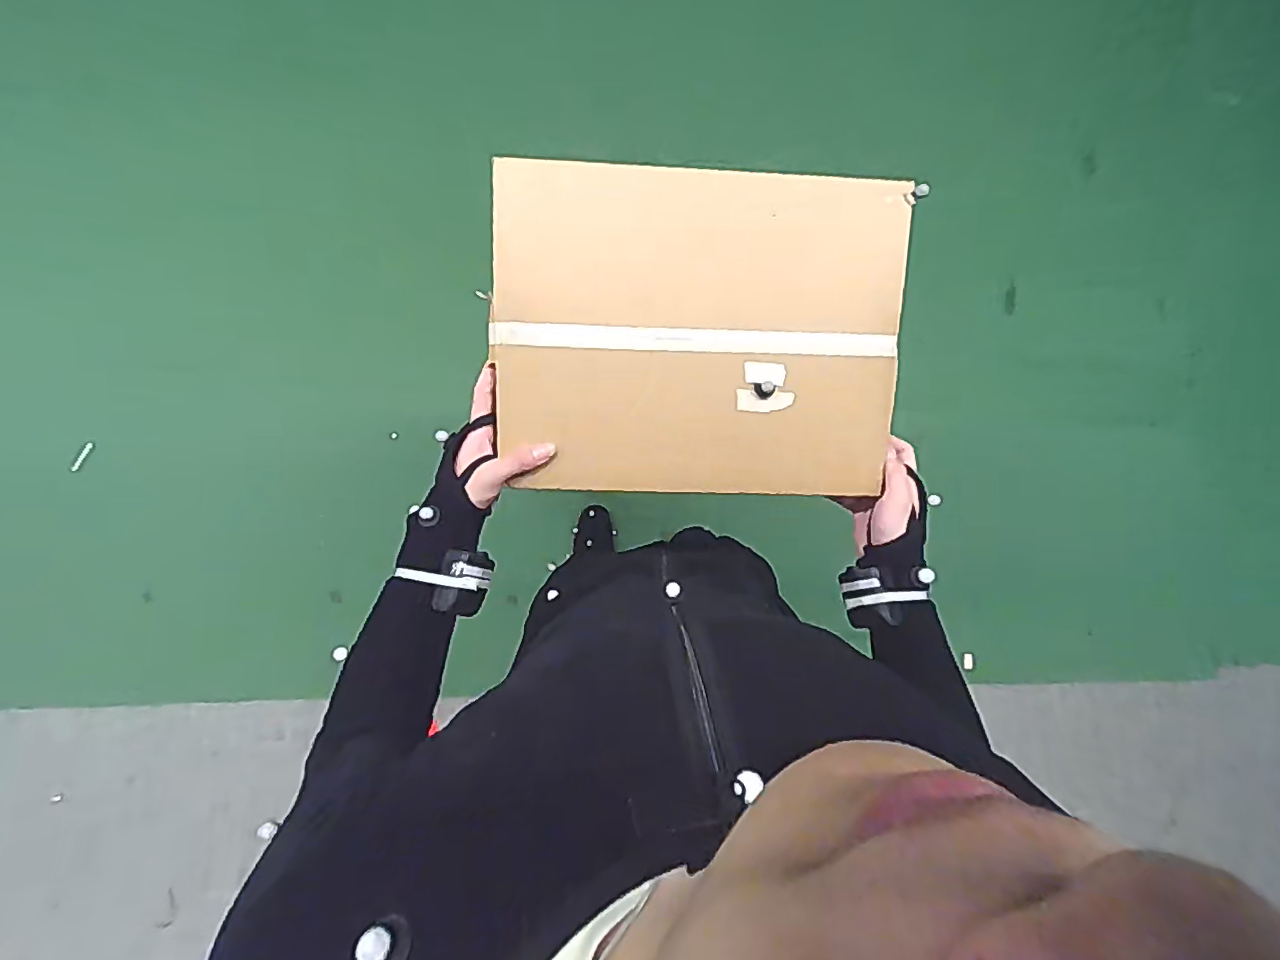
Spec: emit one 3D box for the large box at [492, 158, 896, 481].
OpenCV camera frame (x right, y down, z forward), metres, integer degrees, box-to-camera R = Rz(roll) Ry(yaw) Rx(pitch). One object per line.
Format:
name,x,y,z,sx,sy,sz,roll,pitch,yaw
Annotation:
large box,0.044,-0.176,0.693,0.408,0.320,0.320,1,101,-4
